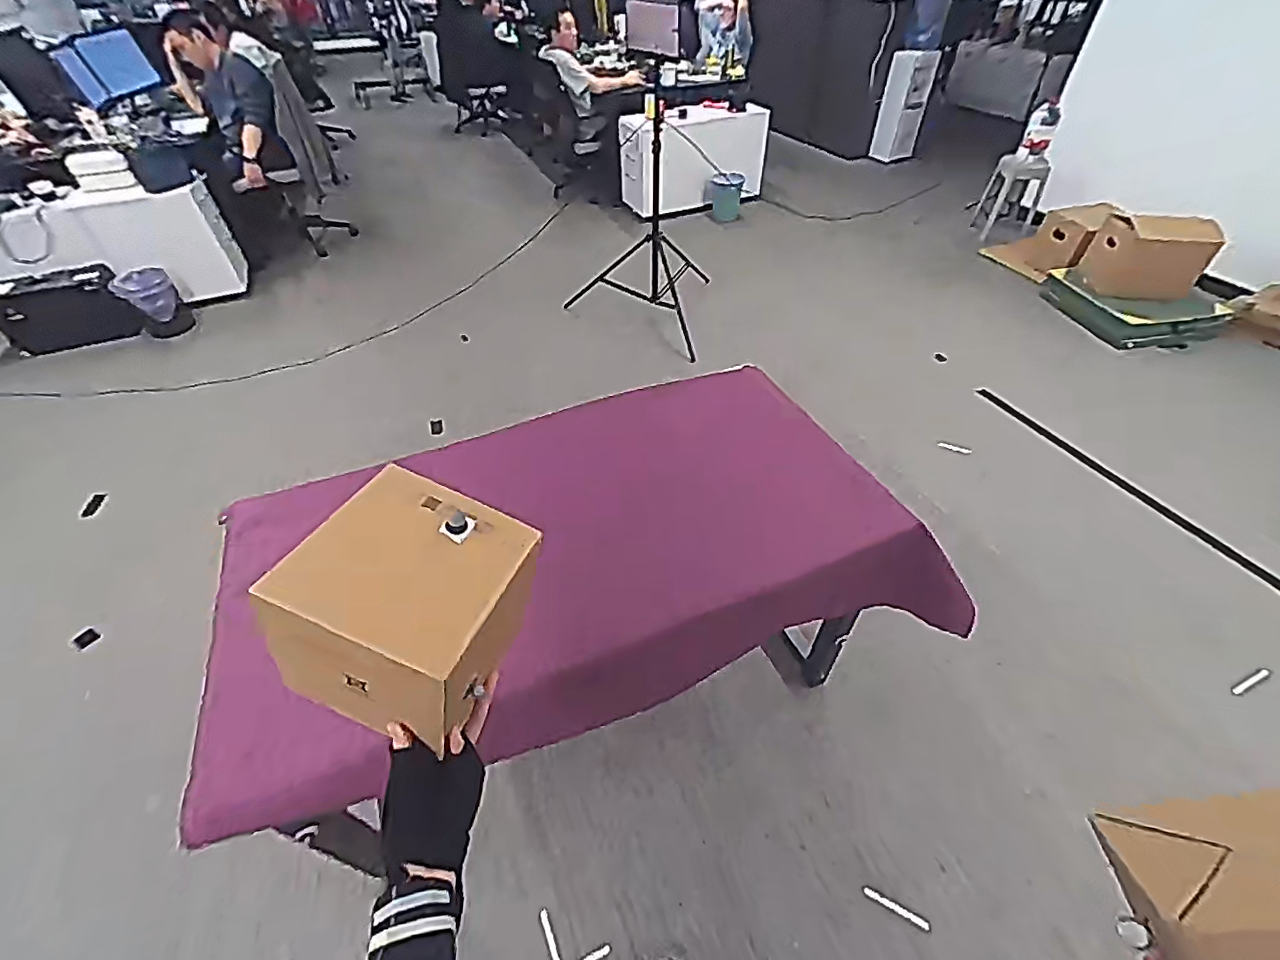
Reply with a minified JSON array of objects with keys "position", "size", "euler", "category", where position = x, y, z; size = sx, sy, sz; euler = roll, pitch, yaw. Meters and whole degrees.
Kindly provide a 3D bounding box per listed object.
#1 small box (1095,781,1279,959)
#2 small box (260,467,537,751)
[{"position":[0.368,0.261,0.262],"size":[0.168,0.179,0.176],"euler":[-24,67,23],"category":"small box"},{"position":[-0.214,0.121,0.527],"size":[0.168,0.179,0.176],"euler":[22,41,4],"category":"small box"}]
